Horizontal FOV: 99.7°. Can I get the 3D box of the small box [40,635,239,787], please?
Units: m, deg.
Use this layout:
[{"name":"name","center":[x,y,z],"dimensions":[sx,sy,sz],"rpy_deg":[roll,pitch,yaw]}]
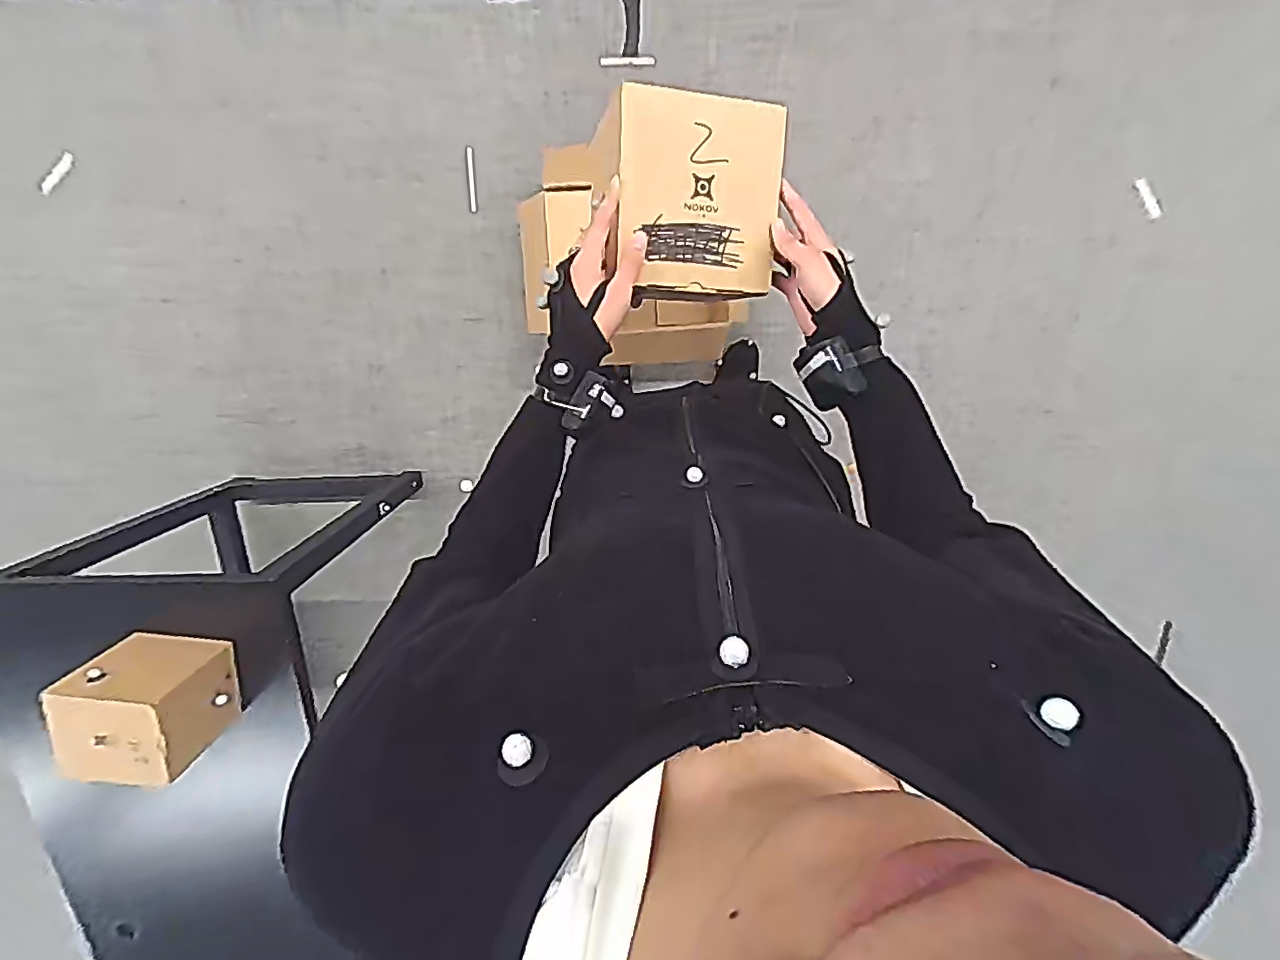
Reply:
[{"name":"small box","center":[-0.837,0.385,0.923],"dimensions":[0.179,0.176,0.168],"rpy_deg":[6,108,-2]}]
